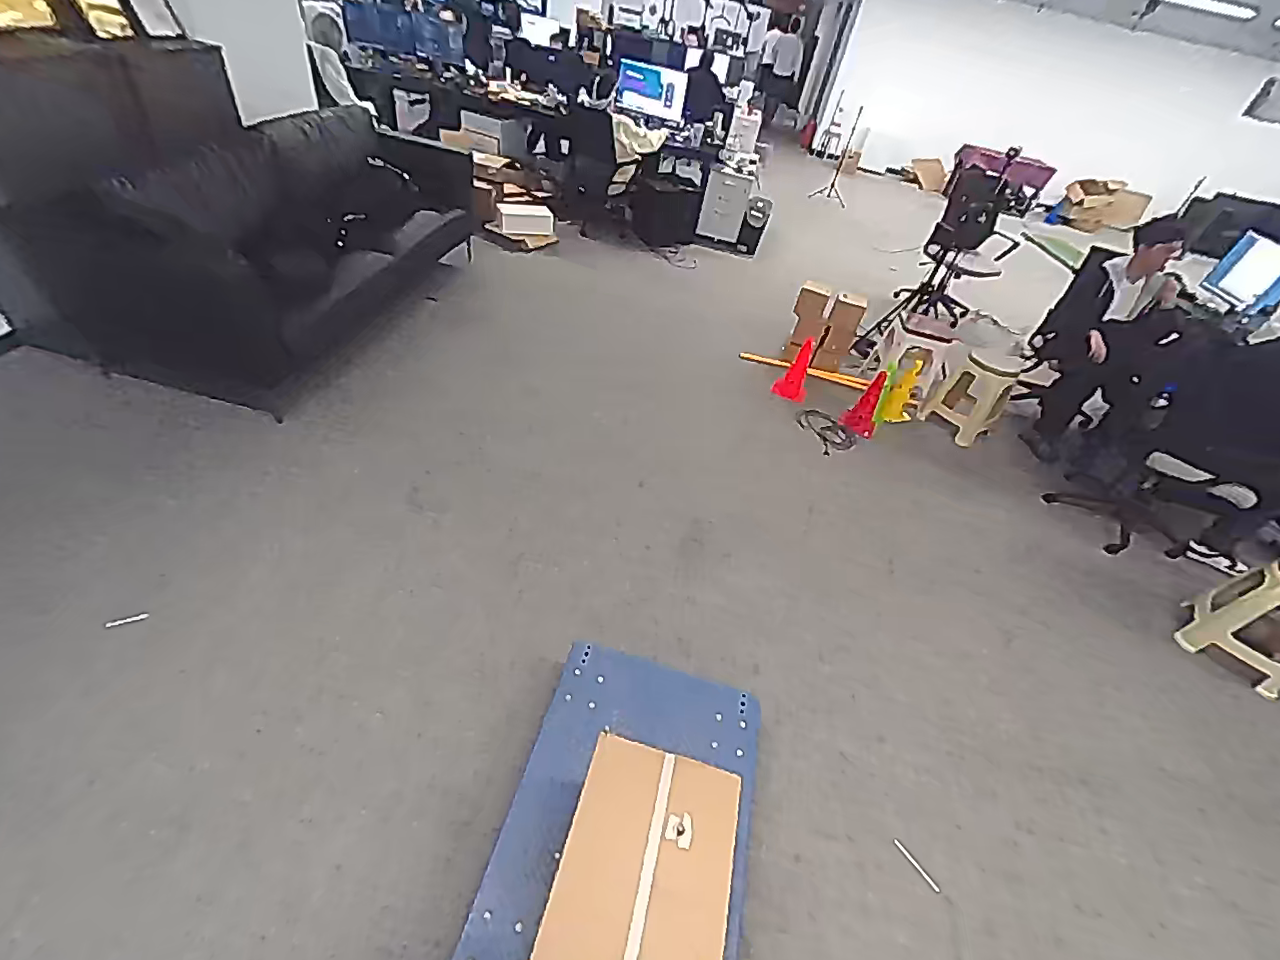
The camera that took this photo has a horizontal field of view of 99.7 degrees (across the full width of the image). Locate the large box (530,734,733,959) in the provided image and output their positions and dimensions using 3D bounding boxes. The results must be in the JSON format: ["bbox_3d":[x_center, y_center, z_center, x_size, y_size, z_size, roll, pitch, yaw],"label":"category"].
[{"bbox_3d":[-0.015,0.817,1.097,0.320,0.320,0.408,16,40,4],"label":"large box"}]
